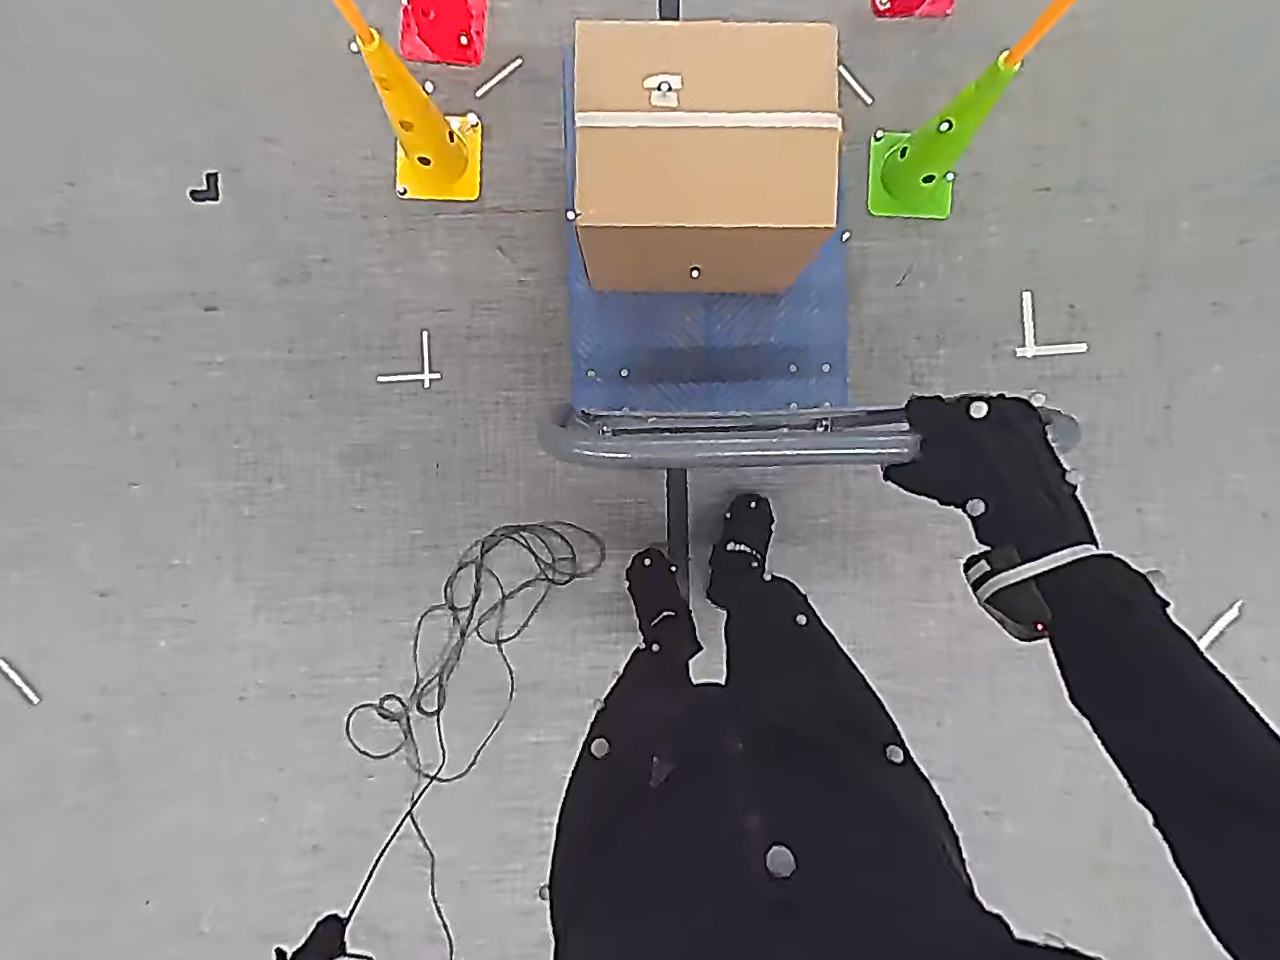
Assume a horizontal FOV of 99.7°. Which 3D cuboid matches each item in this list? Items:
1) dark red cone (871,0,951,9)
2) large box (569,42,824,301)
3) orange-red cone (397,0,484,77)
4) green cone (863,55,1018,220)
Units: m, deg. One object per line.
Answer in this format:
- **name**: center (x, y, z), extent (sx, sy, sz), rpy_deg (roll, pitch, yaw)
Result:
- **dark red cone**: center (0.645, -1.217, 1.120), extent (0.201, 0.394, 0.202), rpy_deg (-2, 90, -2)
- **large box**: center (0.092, -0.529, 0.995), extent (0.408, 0.320, 0.320), rpy_deg (0, 90, 1)
- **orange-red cone**: center (-0.481, -1.087, 1.140), extent (0.198, 0.360, 0.199), rpy_deg (5, 89, -1)
- **green cone**: center (0.643, -0.732, 1.138), extent (0.202, 0.368, 0.200), rpy_deg (2, 90, -1)
